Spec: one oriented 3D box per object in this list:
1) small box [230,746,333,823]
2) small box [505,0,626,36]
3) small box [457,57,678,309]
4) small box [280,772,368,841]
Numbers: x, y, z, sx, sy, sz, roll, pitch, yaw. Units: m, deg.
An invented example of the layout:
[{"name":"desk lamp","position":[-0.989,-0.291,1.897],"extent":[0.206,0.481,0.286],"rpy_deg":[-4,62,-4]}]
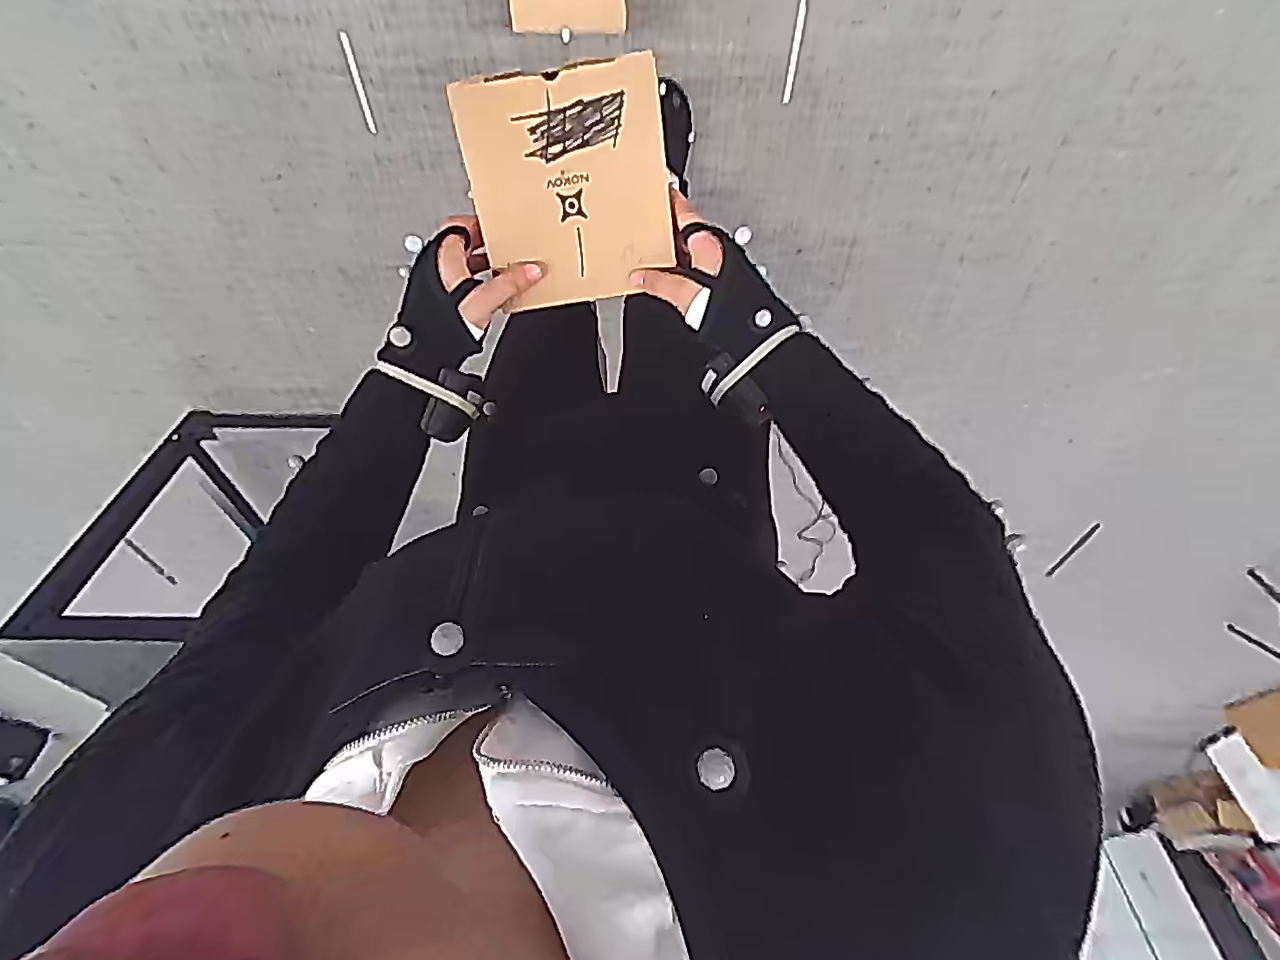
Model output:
[{"name":"small box","position":[-1.036,0.893,1.587],"extent":[0.179,0.176,0.168],"rpy_deg":[1,137,0]},{"name":"small box","position":[-0.110,-0.792,0.815],"extent":[0.179,0.176,0.168],"rpy_deg":[0,139,-1]},{"name":"small box","position":[-0.059,-0.278,0.532],"extent":[0.168,0.176,0.179],"rpy_deg":[-8,116,2]},{"name":"small box","position":[-1.030,1.071,1.779],"extent":[0.168,0.176,0.179],"rpy_deg":[-1,137,1]}]
